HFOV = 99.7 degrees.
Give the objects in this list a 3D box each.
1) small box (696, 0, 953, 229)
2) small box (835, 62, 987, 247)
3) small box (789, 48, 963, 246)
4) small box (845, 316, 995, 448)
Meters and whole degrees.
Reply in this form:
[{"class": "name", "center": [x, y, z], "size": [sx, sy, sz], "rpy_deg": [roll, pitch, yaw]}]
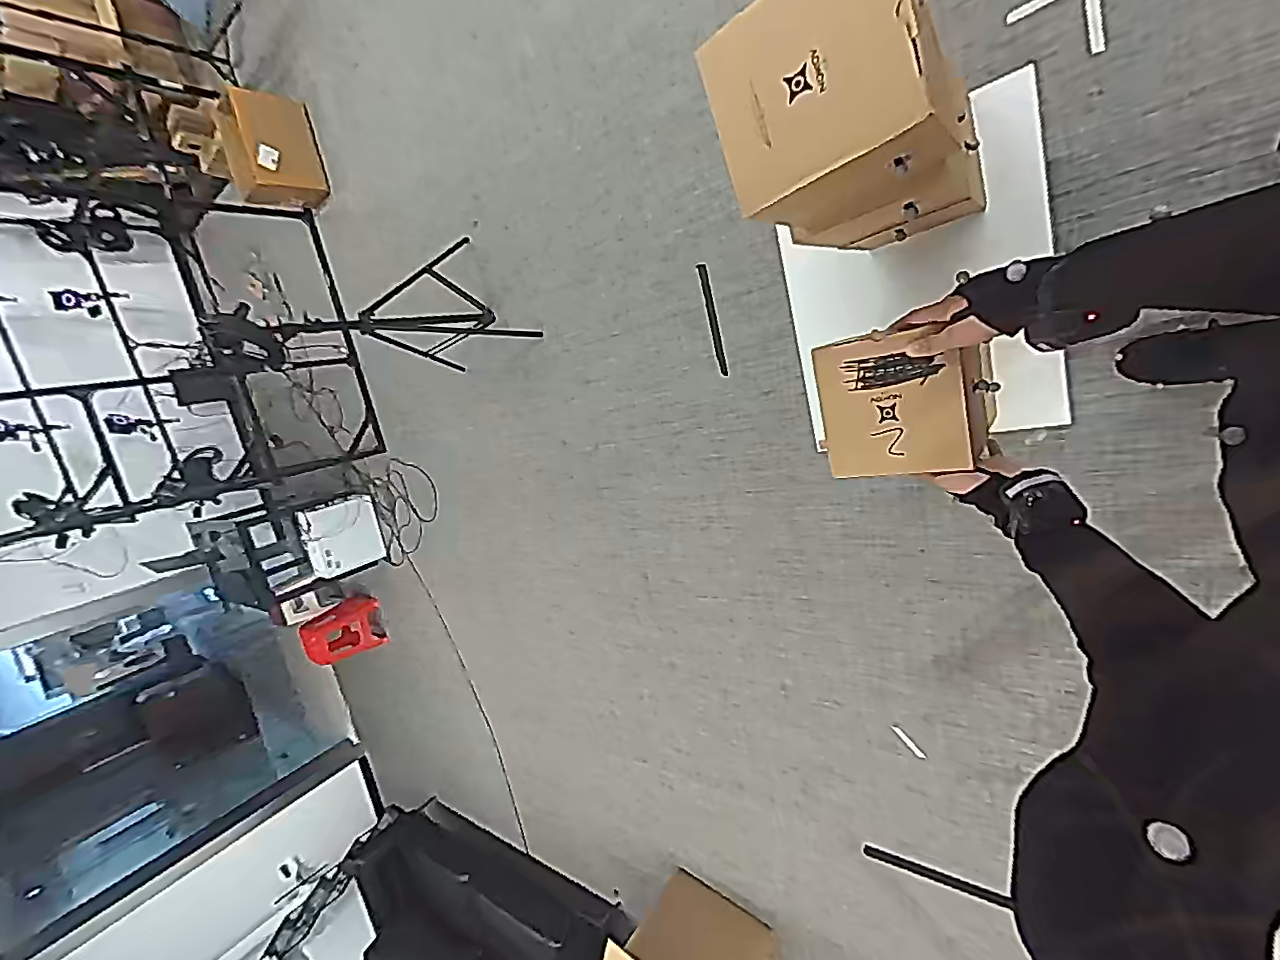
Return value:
[{"class": "small box", "center": [0.190, -0.369, 0.532], "size": [0.179, 0.176, 0.168], "rpy_deg": [-13, 98, 42]}, {"class": "small box", "center": [0.381, -0.450, 0.786], "size": [0.179, 0.176, 0.168], "rpy_deg": [-7, 103, 41]}, {"class": "small box", "center": [0.282, -0.402, 0.663], "size": [0.179, 0.176, 0.168], "rpy_deg": [-7, 103, 41]}, {"class": "small box", "center": [0.447, -0.155, 0.850], "size": [0.179, 0.176, 0.168], "rpy_deg": [-4, 104, 40]}]
